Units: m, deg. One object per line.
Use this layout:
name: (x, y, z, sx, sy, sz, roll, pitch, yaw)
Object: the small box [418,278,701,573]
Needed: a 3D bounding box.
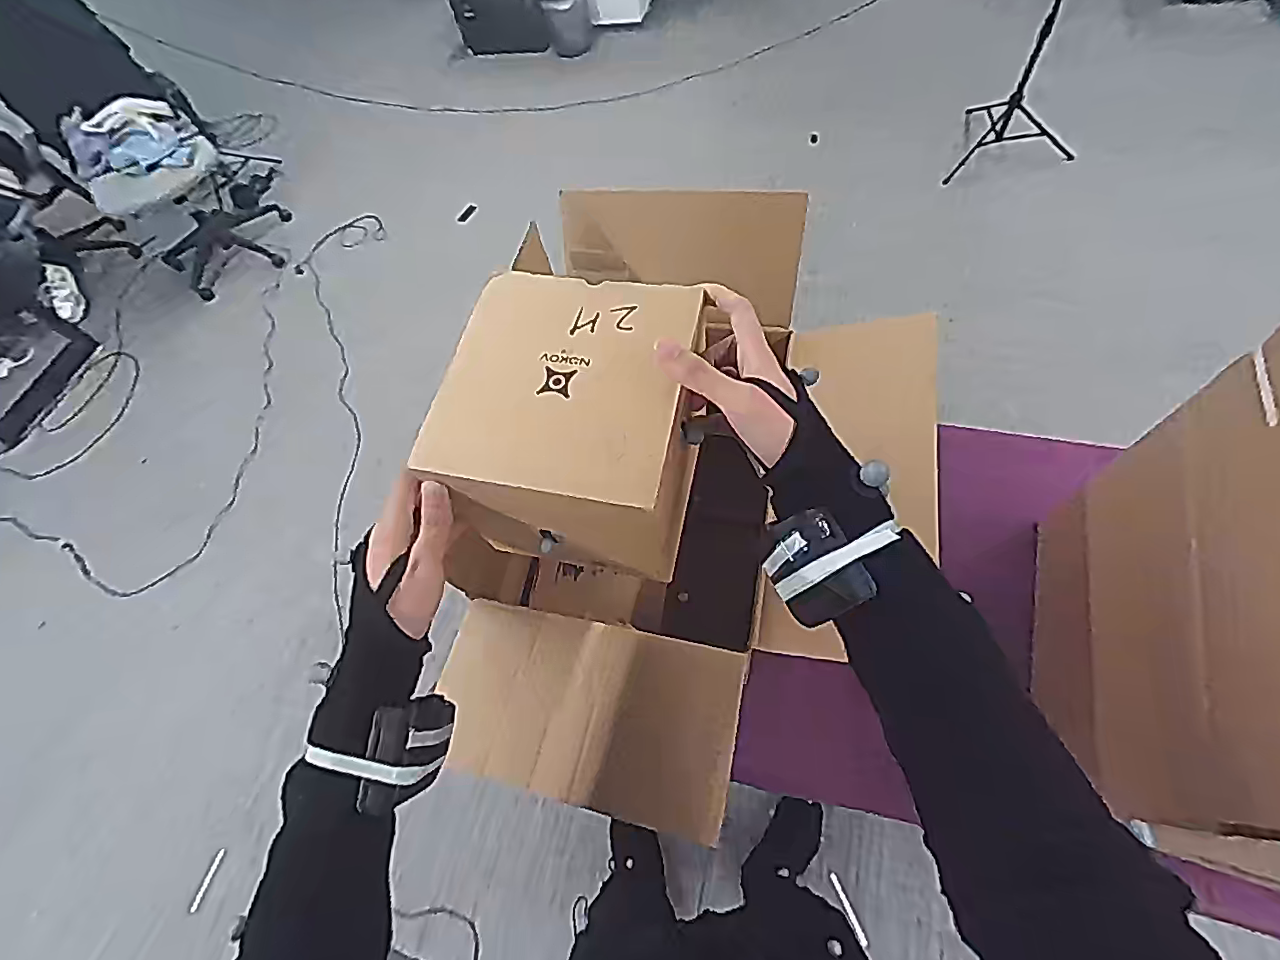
small box: (-0.043, -0.036, 0.450, 0.168, 0.176, 0.179, 10, 66, 11)
